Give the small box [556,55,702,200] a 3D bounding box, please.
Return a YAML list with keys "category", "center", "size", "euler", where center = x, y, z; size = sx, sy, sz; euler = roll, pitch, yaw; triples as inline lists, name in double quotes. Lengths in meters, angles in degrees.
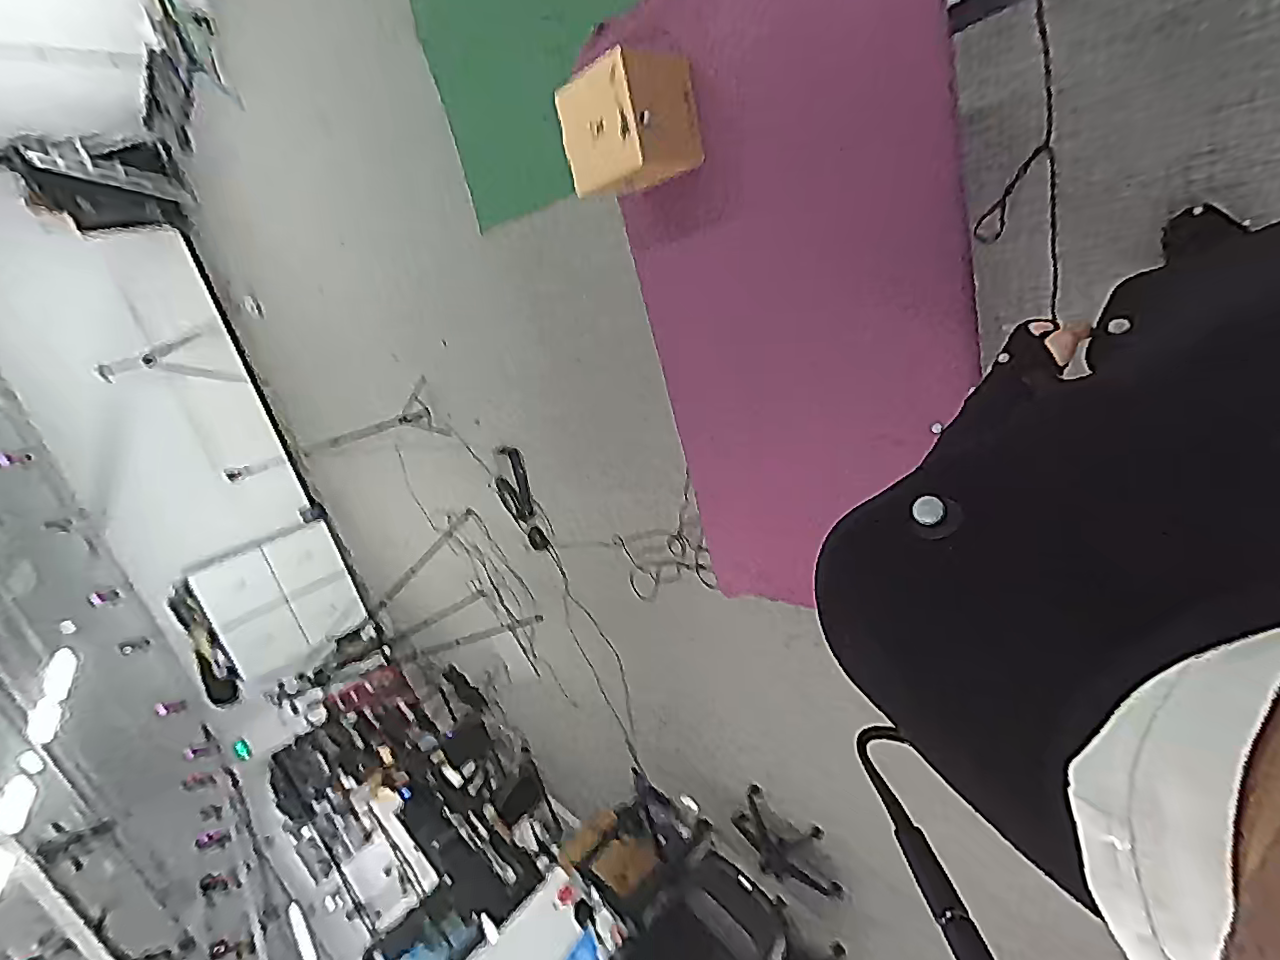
- category: "small box"
  center: [-0.016, -0.614, 0.964]
  size: [0.179, 0.176, 0.168]
  euler: [6, 117, 46]
